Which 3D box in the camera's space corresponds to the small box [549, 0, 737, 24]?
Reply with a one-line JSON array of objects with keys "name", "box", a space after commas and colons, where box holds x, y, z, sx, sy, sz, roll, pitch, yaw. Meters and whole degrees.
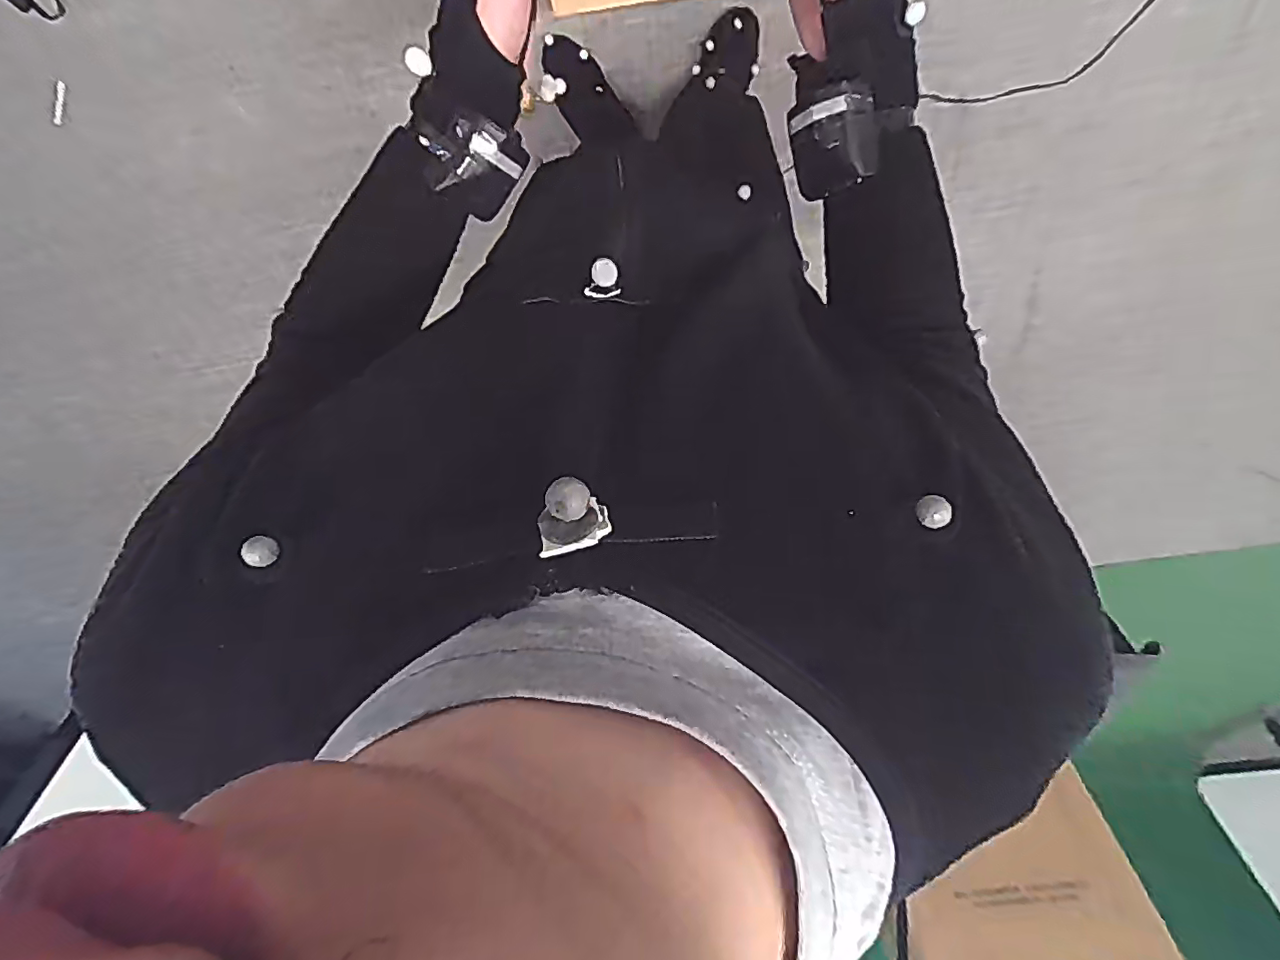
[{"name": "small box", "box": [0.012, -0.408, 0.319, 0.168, 0.176, 0.179, -7, 141, 2]}]
